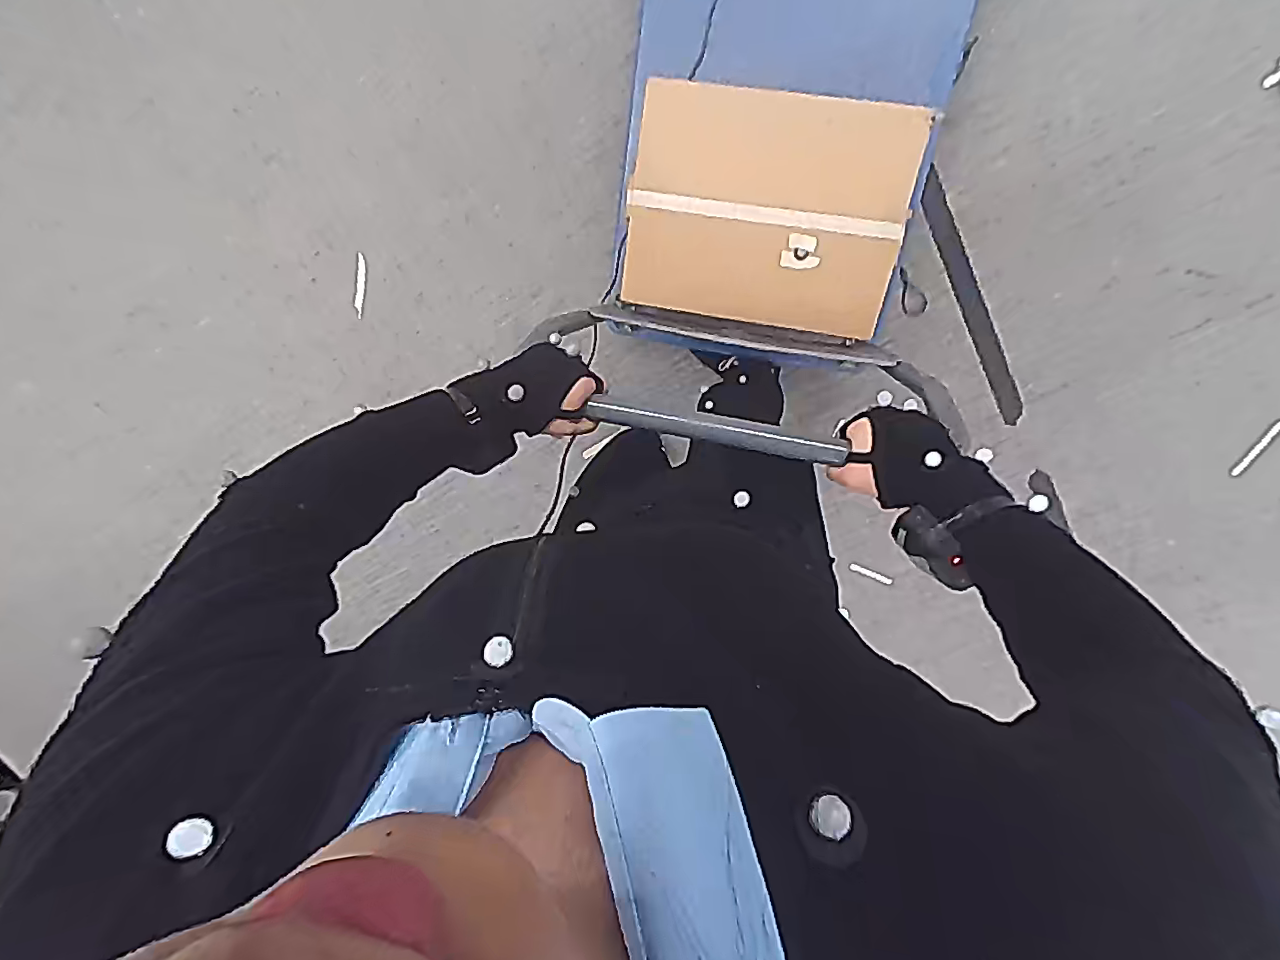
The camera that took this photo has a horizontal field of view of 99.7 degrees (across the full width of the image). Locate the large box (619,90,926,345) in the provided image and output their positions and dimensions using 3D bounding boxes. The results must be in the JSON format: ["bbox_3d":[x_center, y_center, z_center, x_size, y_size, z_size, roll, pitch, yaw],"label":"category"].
[{"bbox_3d":[0.199,-0.433,0.945,0.408,0.320,0.320,11,112,6],"label":"large box"}]
